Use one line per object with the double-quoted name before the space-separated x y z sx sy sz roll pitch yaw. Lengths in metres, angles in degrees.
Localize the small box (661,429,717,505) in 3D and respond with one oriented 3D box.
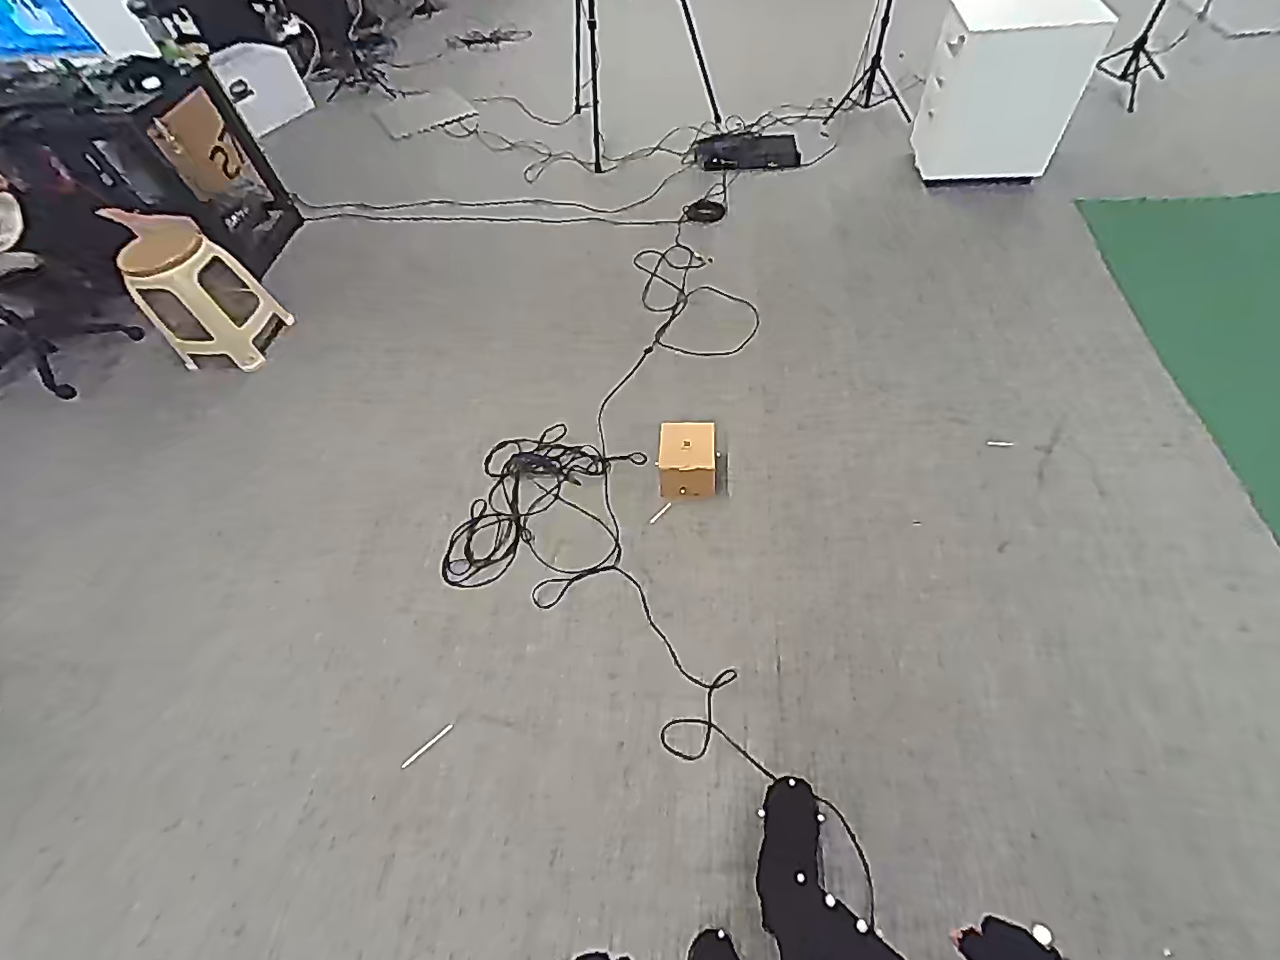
"small box" 0.156 -0.040 1.690 0.168 0.176 0.179 0 56 7
